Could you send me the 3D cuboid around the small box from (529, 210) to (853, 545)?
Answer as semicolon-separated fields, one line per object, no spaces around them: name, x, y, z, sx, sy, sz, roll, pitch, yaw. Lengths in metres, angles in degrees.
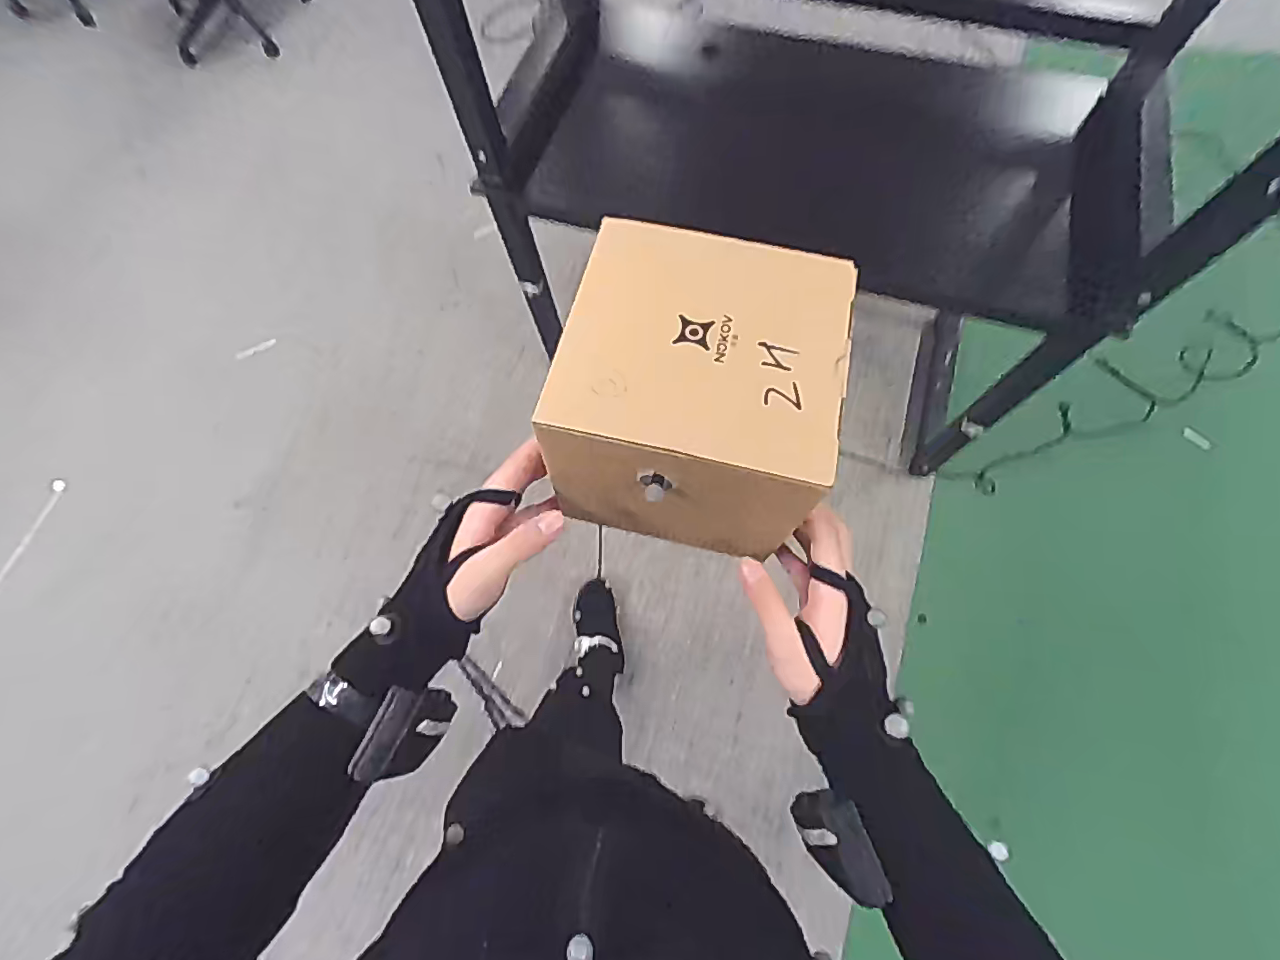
small box;0.037;-0.063;0.406;0.179;0.176;0.168;13;67;4
